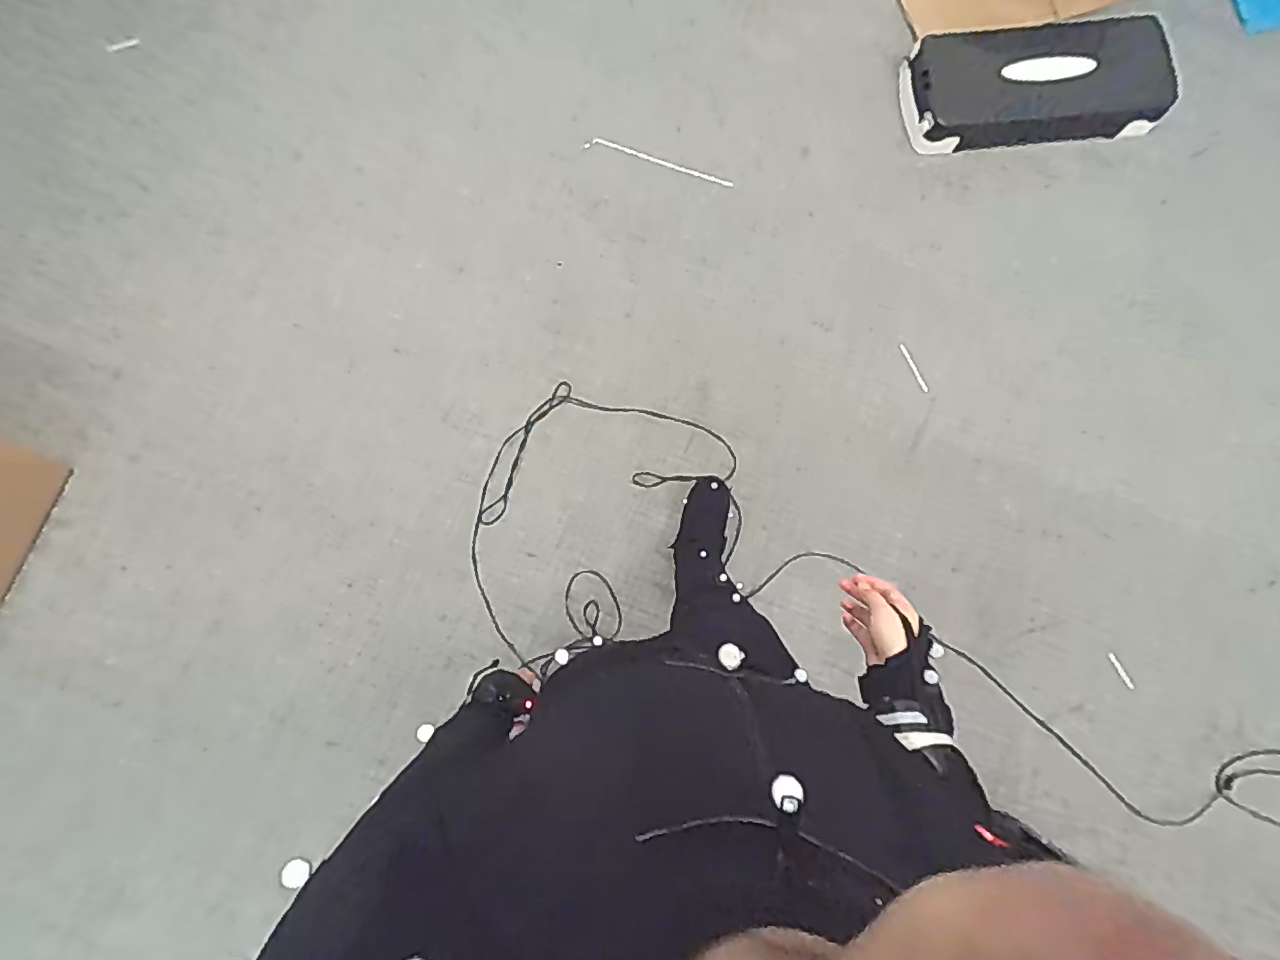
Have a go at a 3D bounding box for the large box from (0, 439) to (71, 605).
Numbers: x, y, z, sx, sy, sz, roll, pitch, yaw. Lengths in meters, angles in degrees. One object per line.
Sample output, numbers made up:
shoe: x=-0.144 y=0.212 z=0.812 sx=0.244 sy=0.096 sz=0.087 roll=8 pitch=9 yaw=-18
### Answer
large box: x=-1.671 y=0.077 z=1.231 sx=0.320 sy=0.320 sz=0.408 roll=21 pitch=82 yaw=3
